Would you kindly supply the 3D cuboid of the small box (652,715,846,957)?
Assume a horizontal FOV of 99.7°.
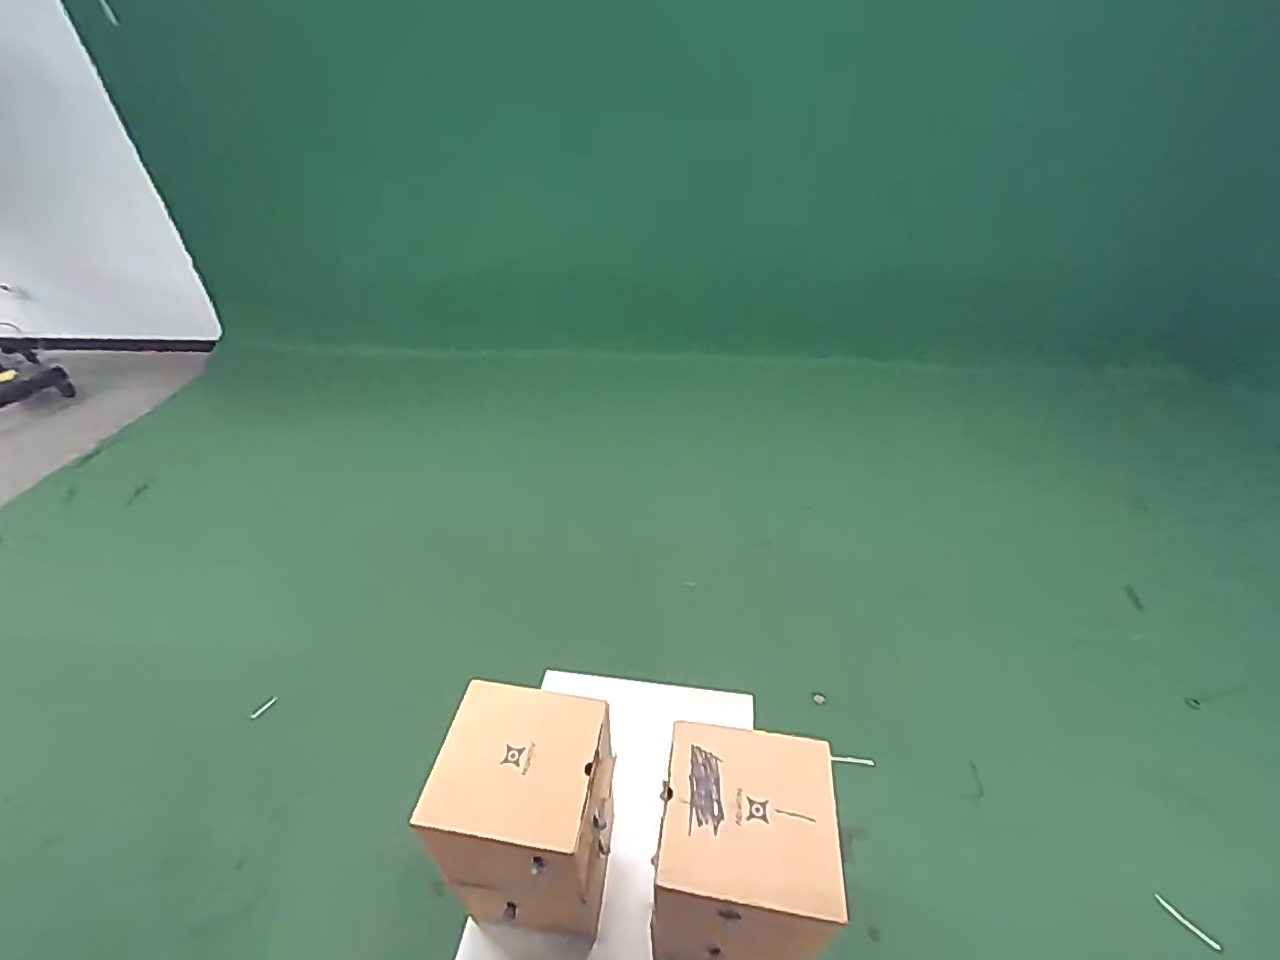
[{"bbox_3d":[0.111,0.389,0.594,0.179,0.176,0.168,6,39,8],"label":"small box"}]
